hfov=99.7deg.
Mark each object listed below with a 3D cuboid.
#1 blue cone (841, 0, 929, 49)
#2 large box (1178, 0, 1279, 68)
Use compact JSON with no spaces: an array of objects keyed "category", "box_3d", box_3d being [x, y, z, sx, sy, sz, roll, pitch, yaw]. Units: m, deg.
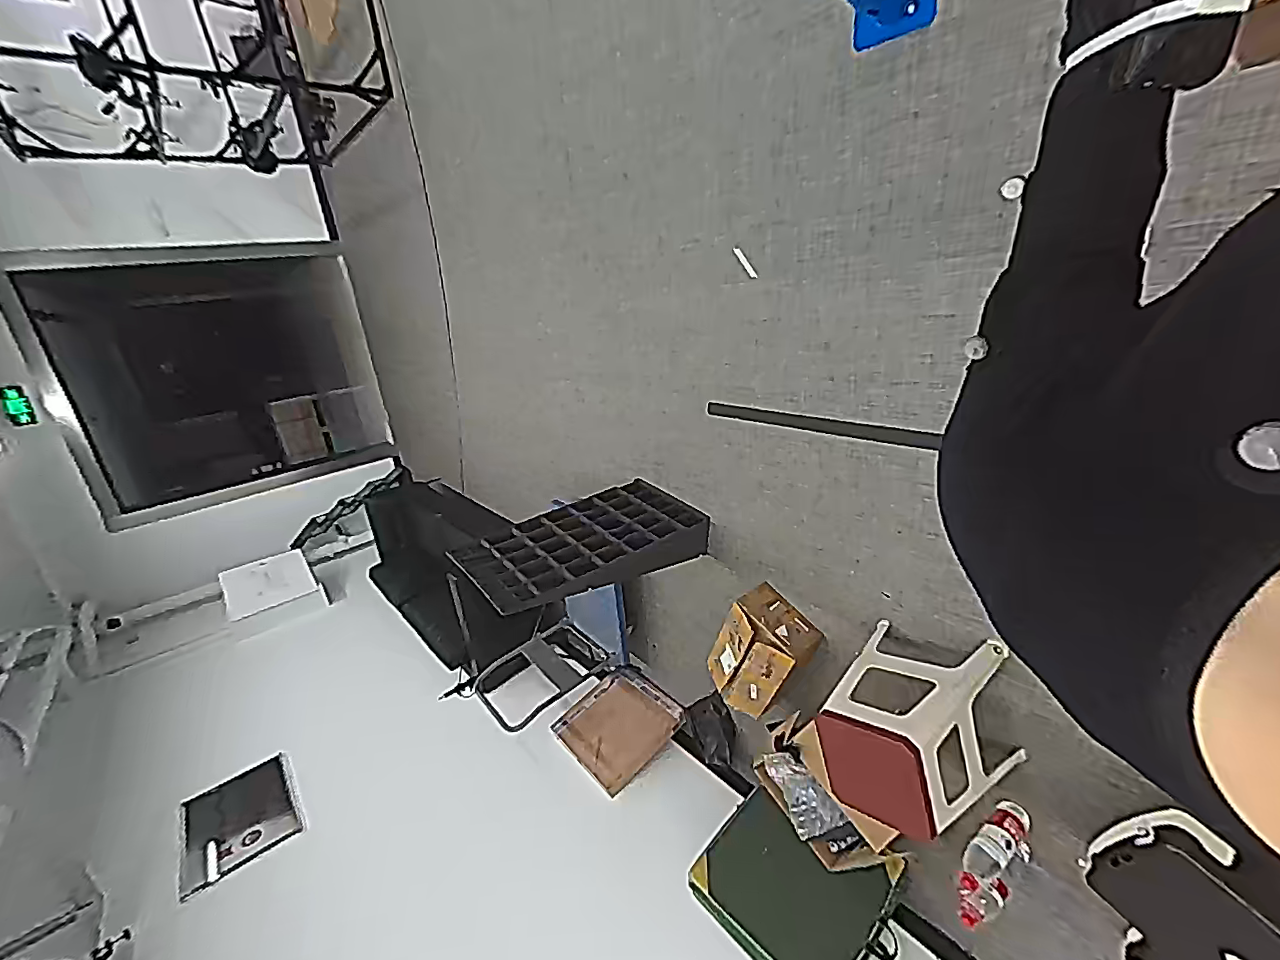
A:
[{"category":"blue cone","box_3d":[0.460,-1.098,1.169,0.192,0.380,0.193,24,125,47]},{"category":"large box","box_3d":[0.571,-0.463,0.249,0.408,0.320,0.320,15,121,48]}]
